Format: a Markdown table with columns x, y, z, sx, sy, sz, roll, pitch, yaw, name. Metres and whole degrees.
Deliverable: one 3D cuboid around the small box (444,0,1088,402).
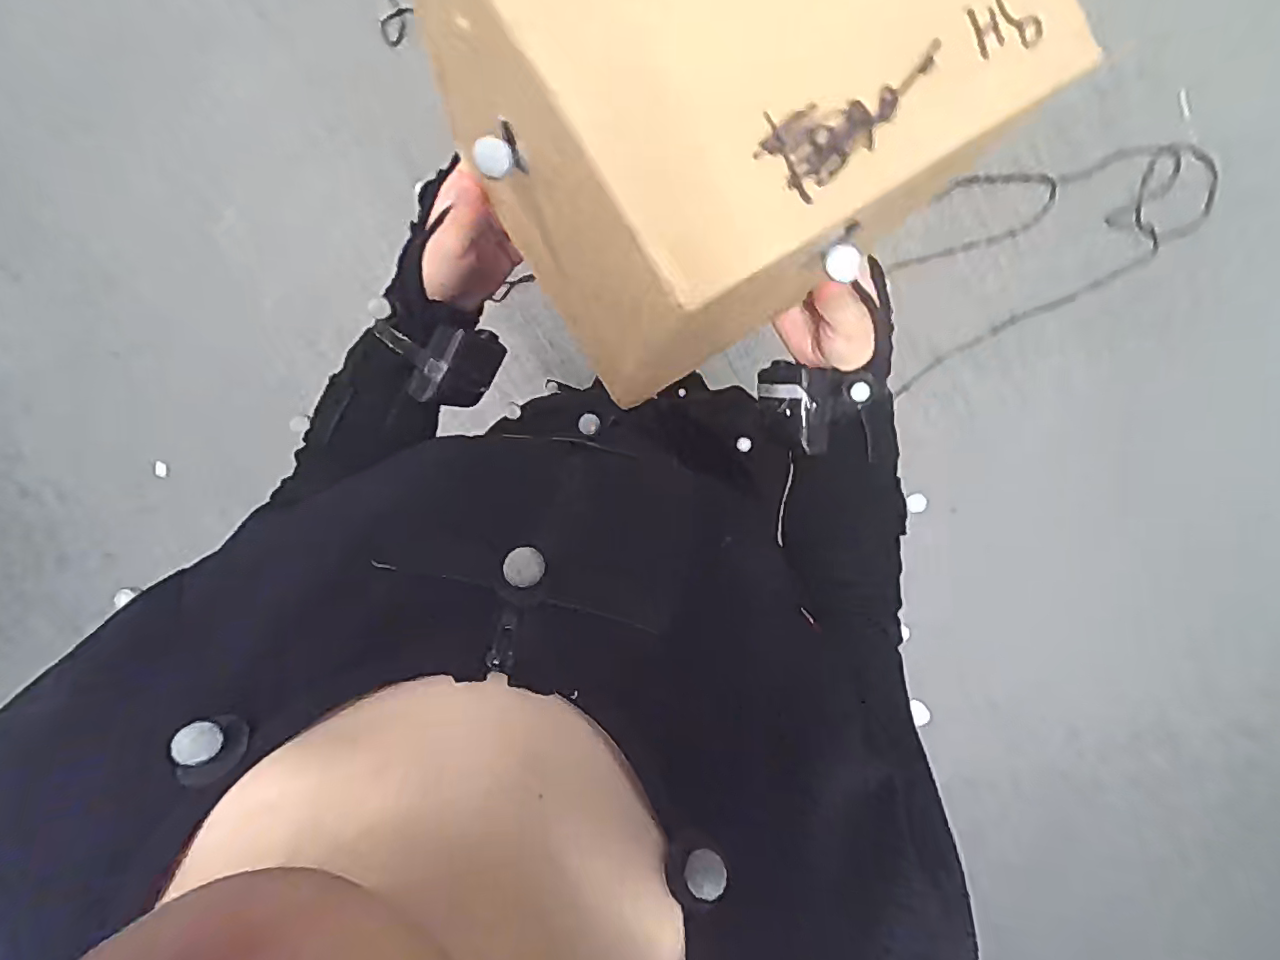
| x | y | z | sx | sy | sz | roll | pitch | yaw | name |
| --- | --- | --- | --- | --- | --- | --- | --- | --- | --- |
| 0.028 | -0.159 | 0.248 | 0.168 | 0.176 | 0.179 | -34 | 92 | -7 | small box |
